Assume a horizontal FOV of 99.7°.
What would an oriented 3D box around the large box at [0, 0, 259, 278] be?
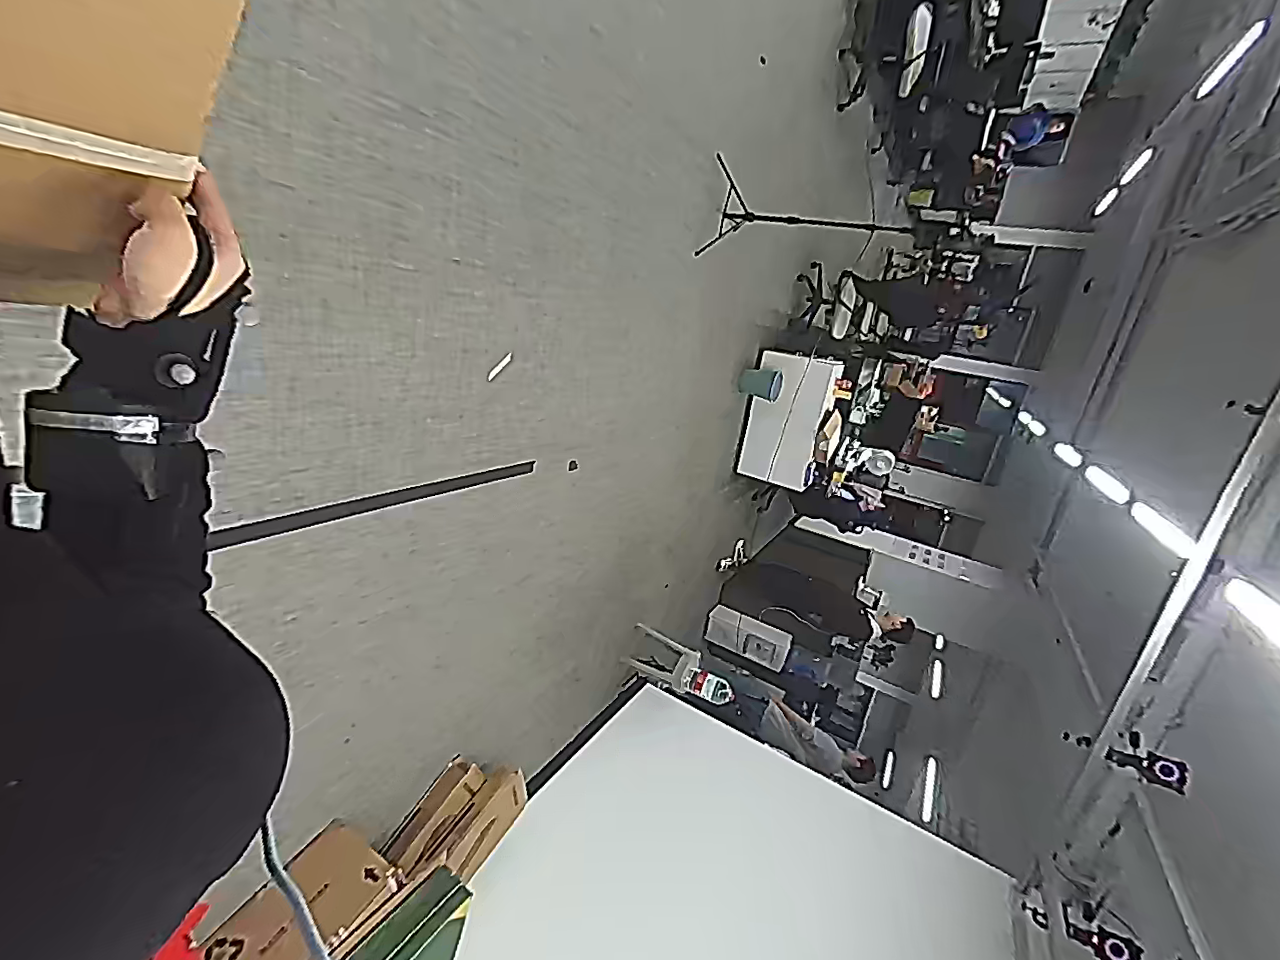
[{"bbox_3d":[-0.439,-0.312,0.187,0.408,0.320,0.320,-19,82,-54],"label":"large box"}]
